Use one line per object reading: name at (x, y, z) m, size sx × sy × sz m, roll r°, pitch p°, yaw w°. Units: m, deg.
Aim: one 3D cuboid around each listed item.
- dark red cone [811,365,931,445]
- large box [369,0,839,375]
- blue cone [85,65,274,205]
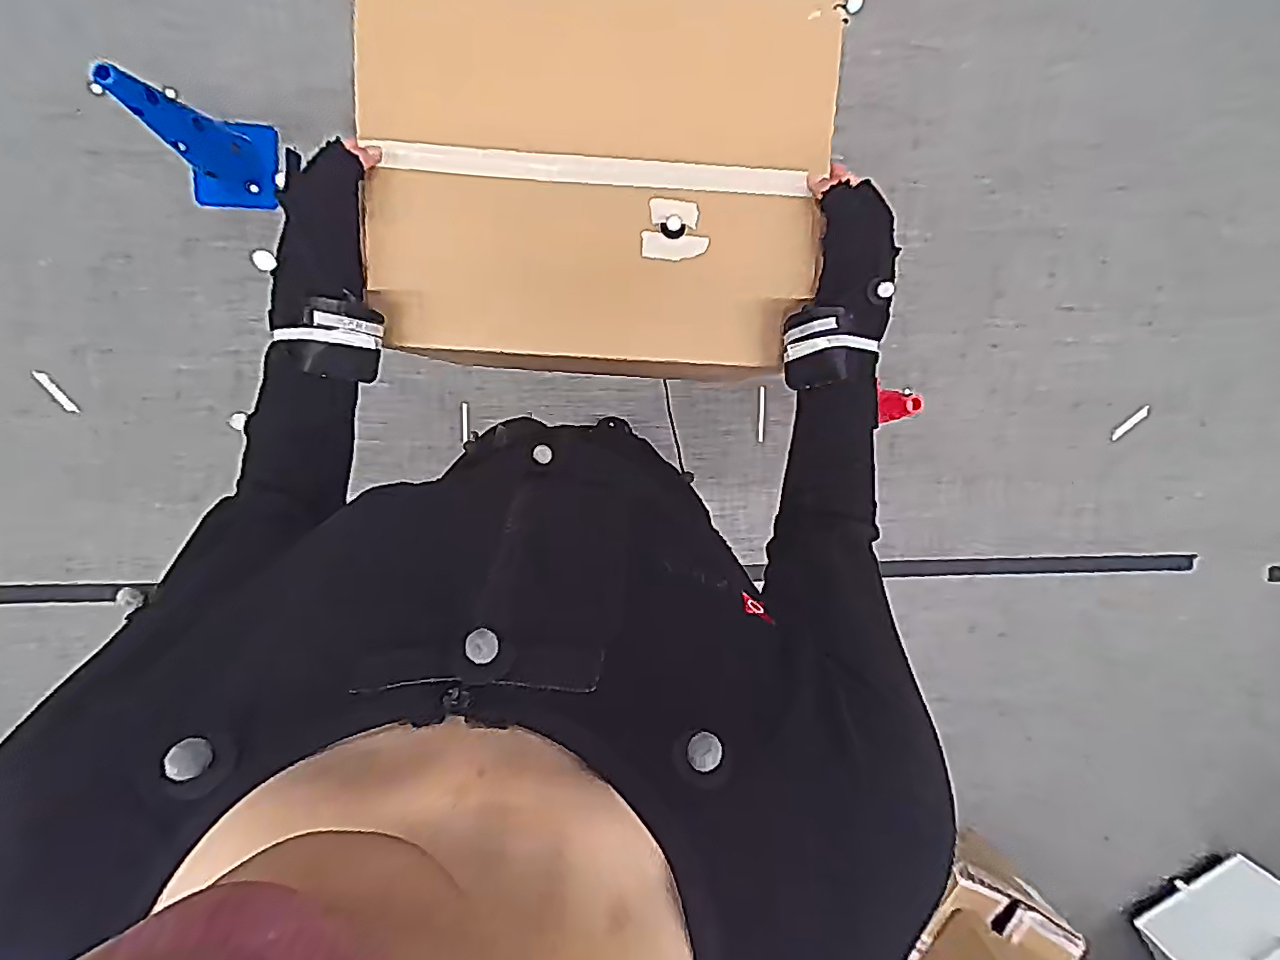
dark red cone at (0.572, -0.183, 1.296) m, size 0.201 × 0.394 × 0.202 m, roll 6°, pitch 96°, yaw -3°
large box at (-0.041, -0.291, 0.620) m, size 0.408 × 0.320 × 0.320 m, roll 2°, pitch 98°, yaw -4°
blue cone at (-0.991, -0.759, 1.168) m, size 0.192 × 0.380 × 0.193 m, roll 3°, pitch 96°, yaw -3°
